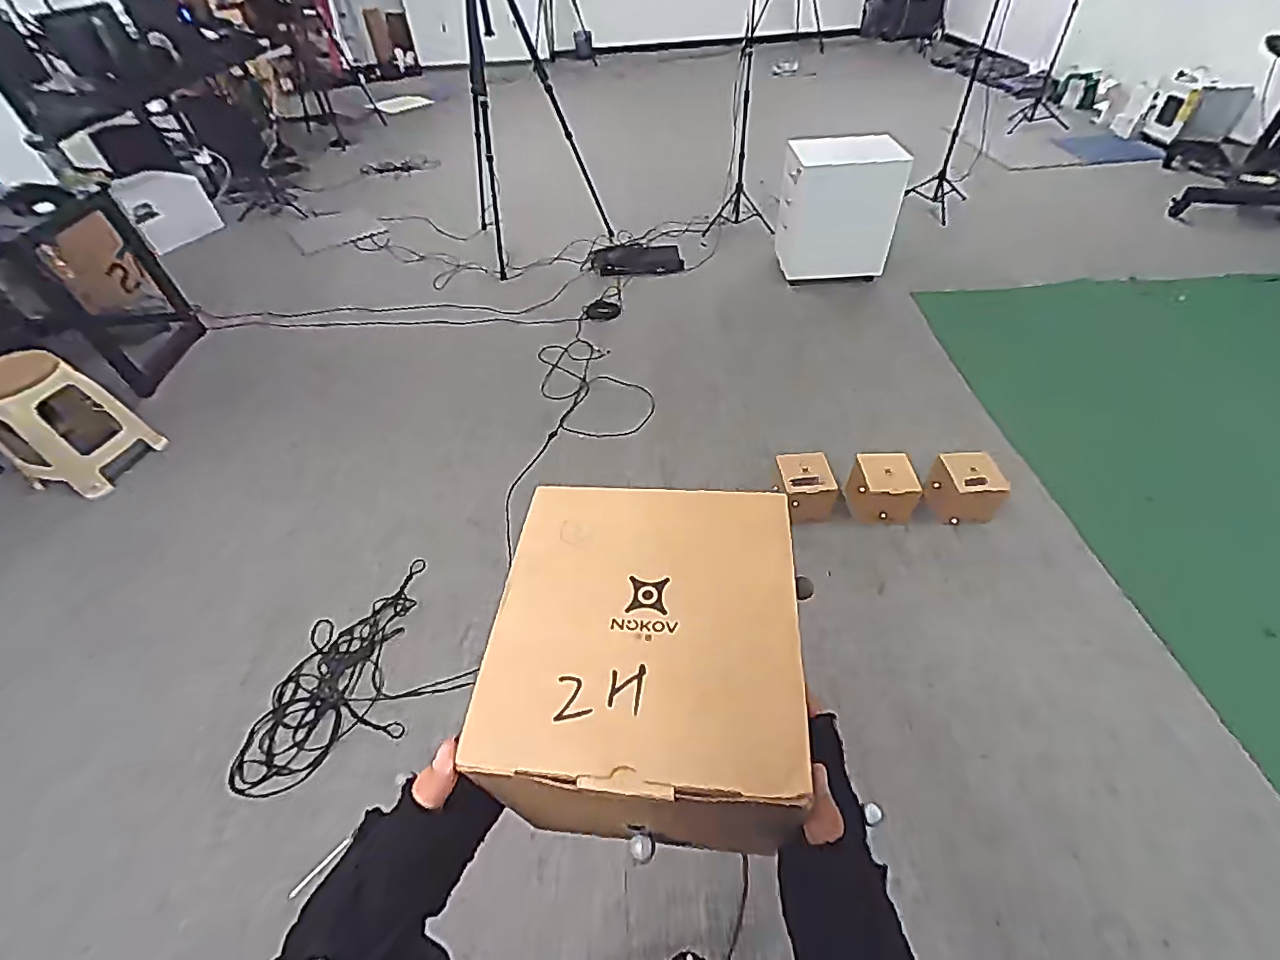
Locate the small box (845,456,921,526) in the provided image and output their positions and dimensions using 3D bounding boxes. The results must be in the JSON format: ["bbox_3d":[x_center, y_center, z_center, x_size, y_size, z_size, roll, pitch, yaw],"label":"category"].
[{"bbox_3d":[0.812,0.037,1.828,0.168,0.176,0.179,-1,47,1],"label":"small box"}]

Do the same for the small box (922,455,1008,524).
[{"bbox_3d":[1.081,0.037,1.814,0.168,0.176,0.179,-2,46,1],"label":"small box"}]
